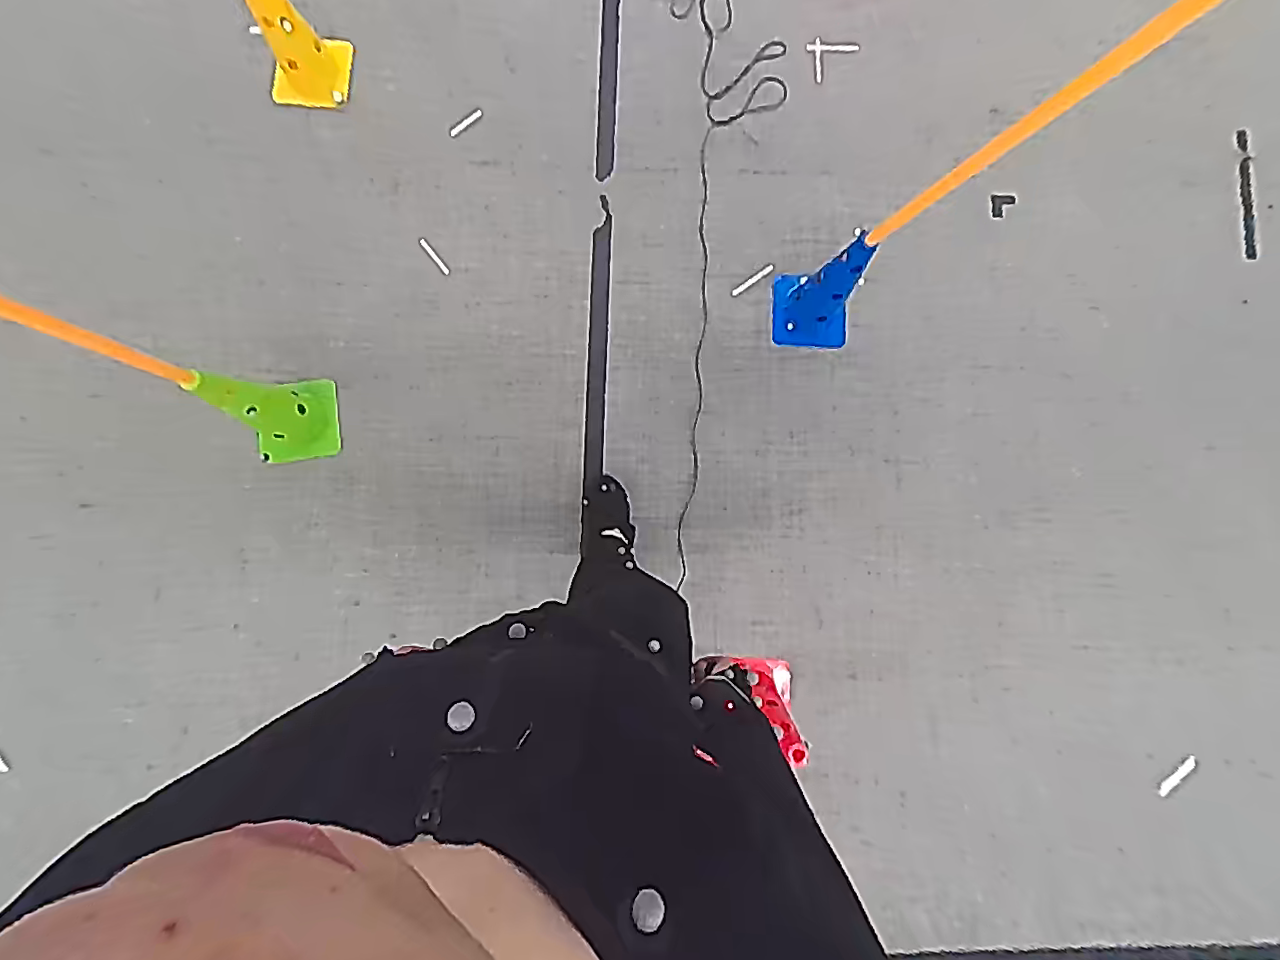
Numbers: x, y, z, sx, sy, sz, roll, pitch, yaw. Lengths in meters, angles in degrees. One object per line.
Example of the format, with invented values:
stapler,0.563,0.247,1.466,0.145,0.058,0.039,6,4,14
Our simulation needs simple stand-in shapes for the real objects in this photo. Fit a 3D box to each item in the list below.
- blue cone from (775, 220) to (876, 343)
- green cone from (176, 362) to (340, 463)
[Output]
blue cone,0.464,-0.485,1.296,0.193,0.380,0.192,4,83,-2
green cone,-0.861,-0.175,1.200,0.200,0.368,0.202,-9,82,-3
